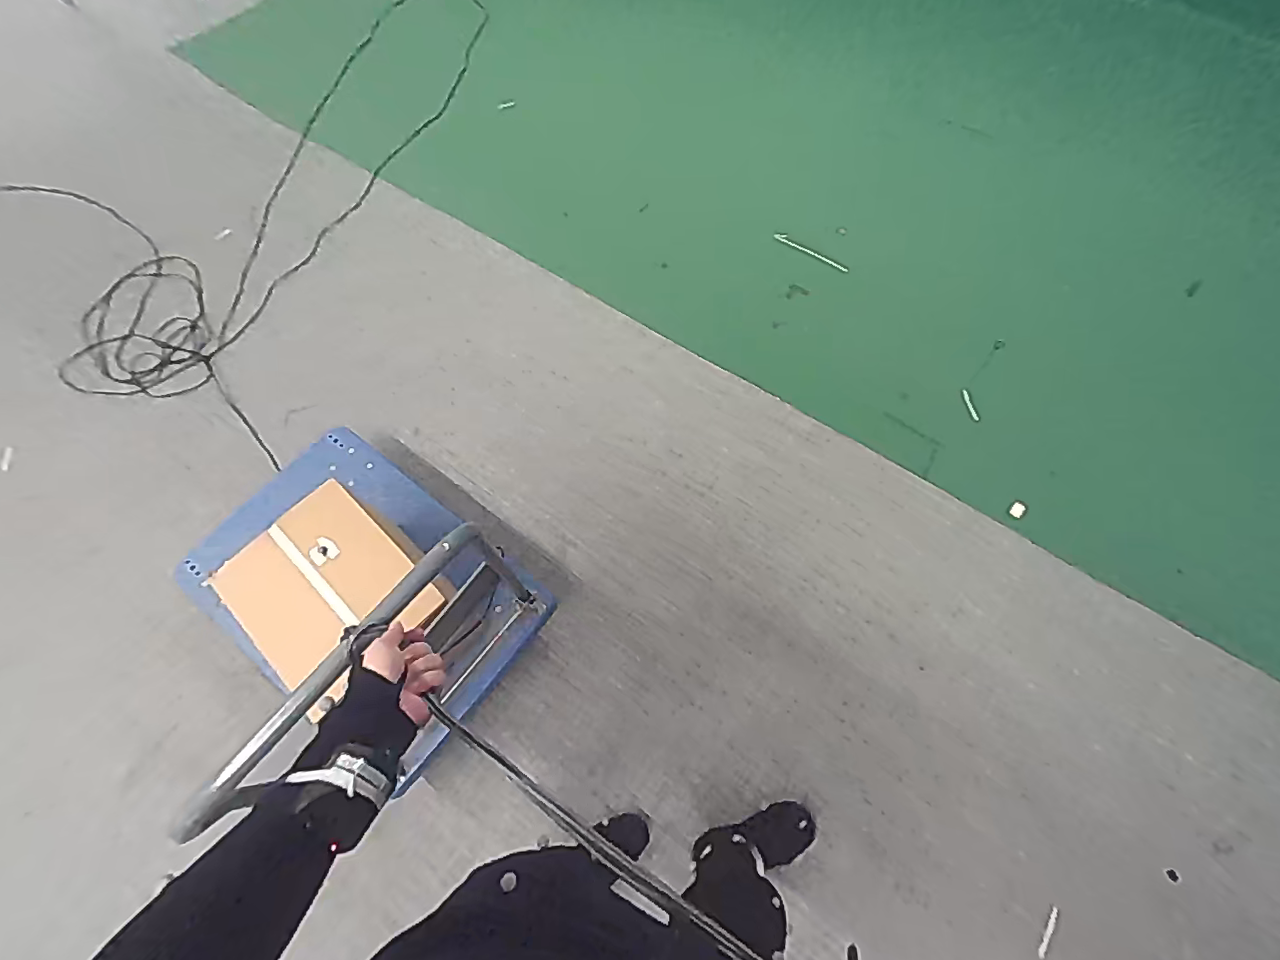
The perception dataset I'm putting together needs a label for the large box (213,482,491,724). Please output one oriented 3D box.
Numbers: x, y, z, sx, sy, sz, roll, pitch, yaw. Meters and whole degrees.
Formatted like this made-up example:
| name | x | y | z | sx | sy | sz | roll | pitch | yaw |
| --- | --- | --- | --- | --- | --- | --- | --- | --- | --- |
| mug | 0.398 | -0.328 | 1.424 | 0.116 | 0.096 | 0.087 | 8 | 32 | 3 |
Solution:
| name | x | y | z | sx | sy | sz | roll | pitch | yaw |
| --- | --- | --- | --- | --- | --- | --- | --- | --- | --- |
| large box | -0.613 | 0.285 | 1.213 | 0.408 | 0.320 | 0.320 | 39 | 72 | 18 |
